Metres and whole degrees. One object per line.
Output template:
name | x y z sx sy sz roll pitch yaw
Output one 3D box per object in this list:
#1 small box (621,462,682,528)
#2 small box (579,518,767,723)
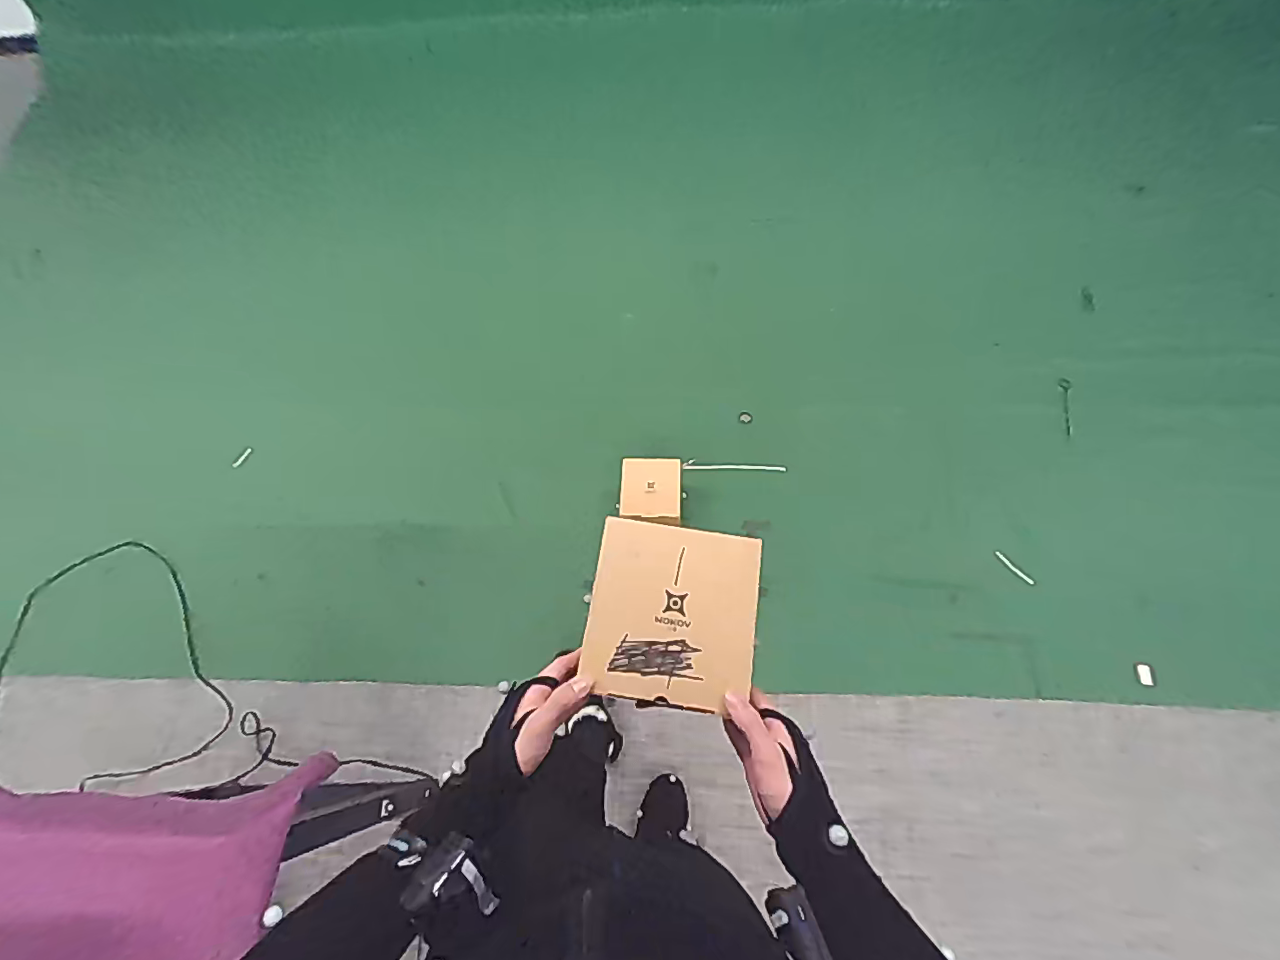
small box | 0.035 0.063 1.558 0.168 0.176 0.179 0 67 4
small box | 0.035 0.160 0.606 0.168 0.176 0.179 9 69 2
